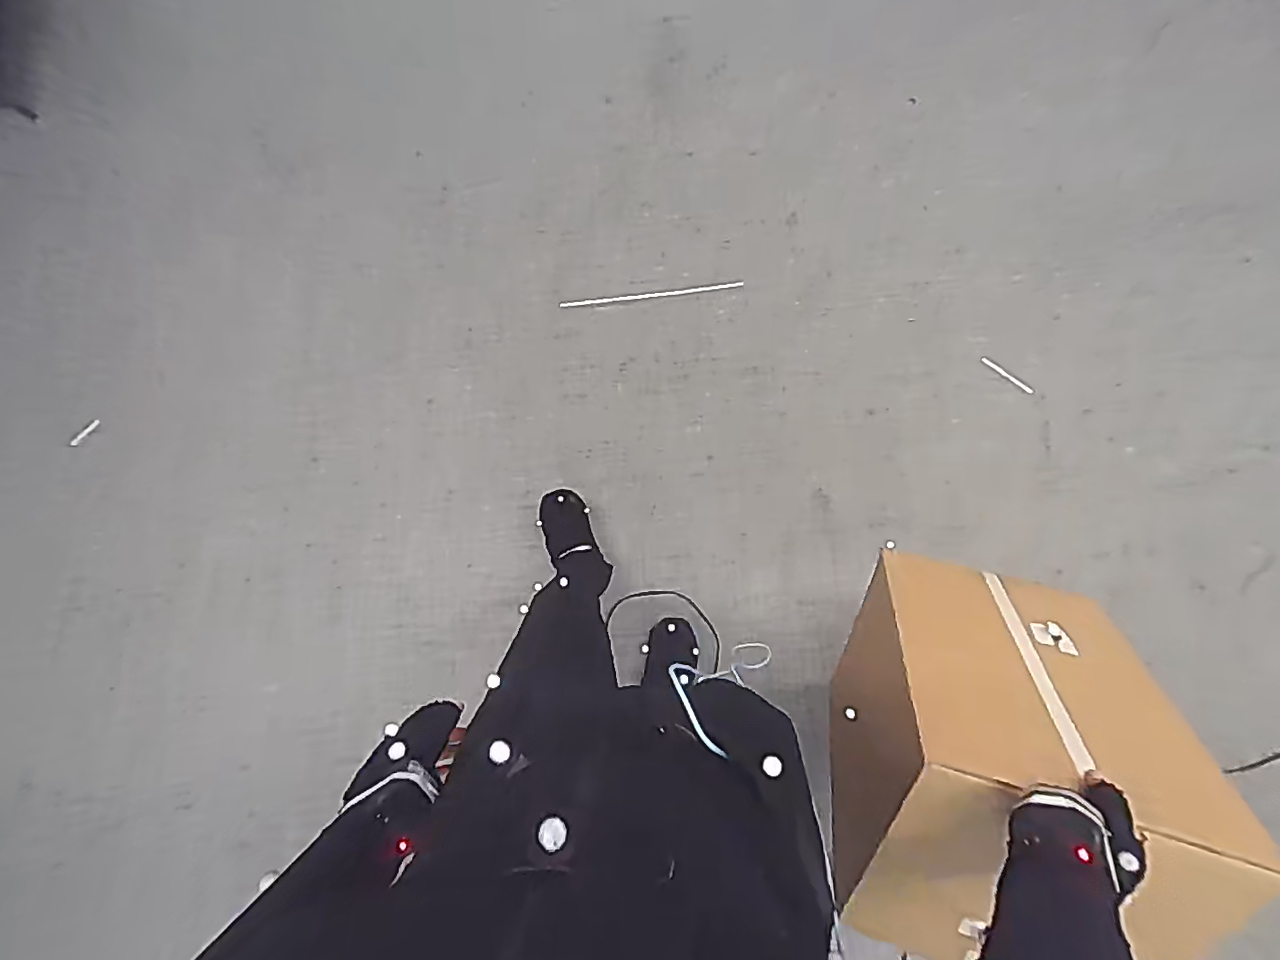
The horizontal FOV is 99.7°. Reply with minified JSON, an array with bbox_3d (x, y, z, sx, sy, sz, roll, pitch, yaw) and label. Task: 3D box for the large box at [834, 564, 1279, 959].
[{"bbox_3d":[0.467,0.379,0.737,0.320,0.408,0.320,14,117,11],"label":"large box"}]
